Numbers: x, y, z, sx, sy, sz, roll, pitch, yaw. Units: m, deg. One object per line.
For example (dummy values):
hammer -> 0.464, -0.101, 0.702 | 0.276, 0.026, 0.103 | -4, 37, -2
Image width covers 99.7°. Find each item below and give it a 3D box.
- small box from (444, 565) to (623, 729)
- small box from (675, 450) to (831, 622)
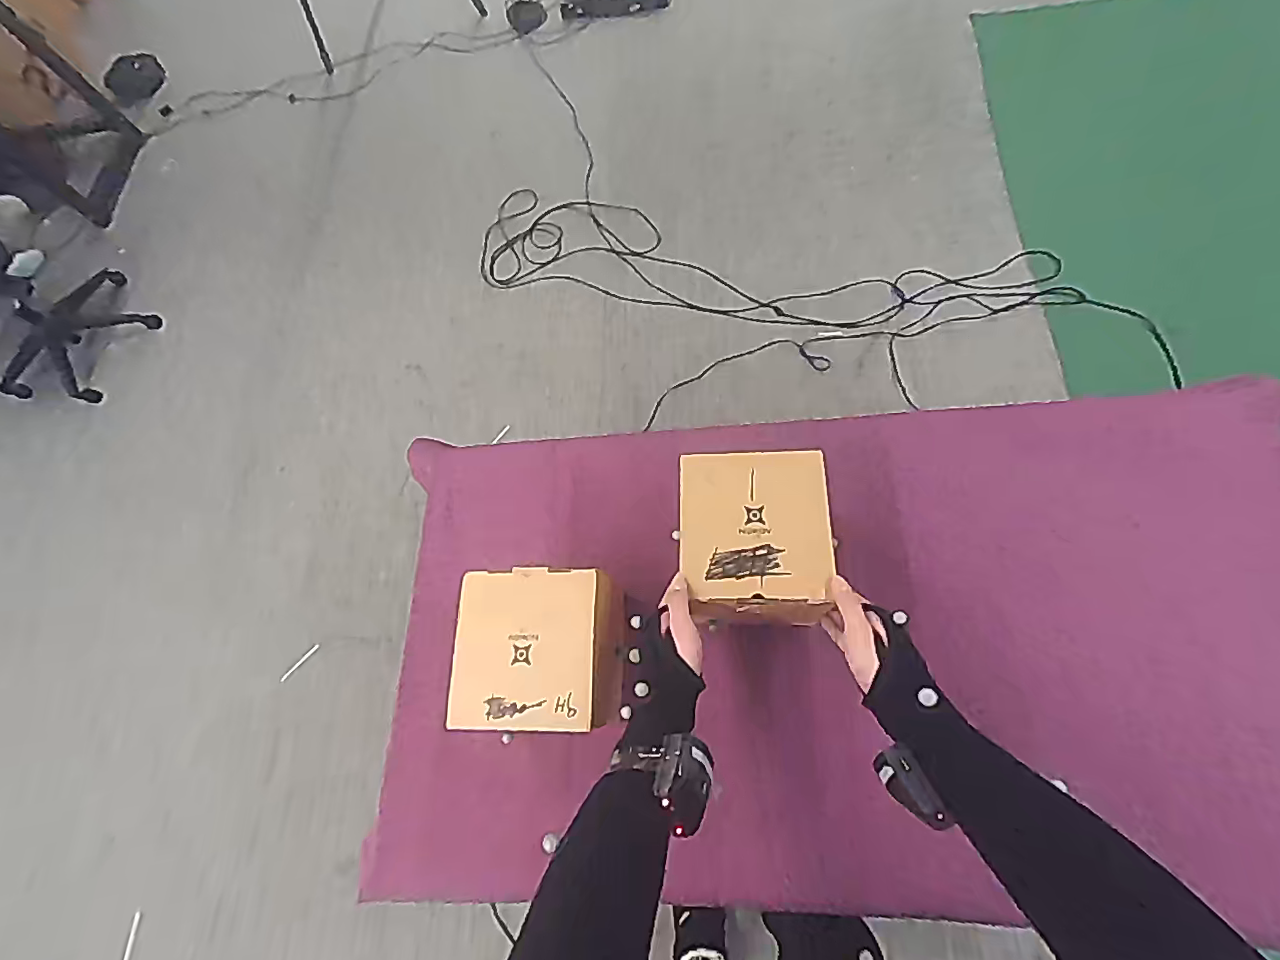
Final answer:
small box -> -0.119, 0.213, 0.684 | 0.168, 0.176, 0.179 | -2, 68, 10
small box -> 0.135, 0.077, 0.676 | 0.168, 0.176, 0.179 | -1, 66, 8
